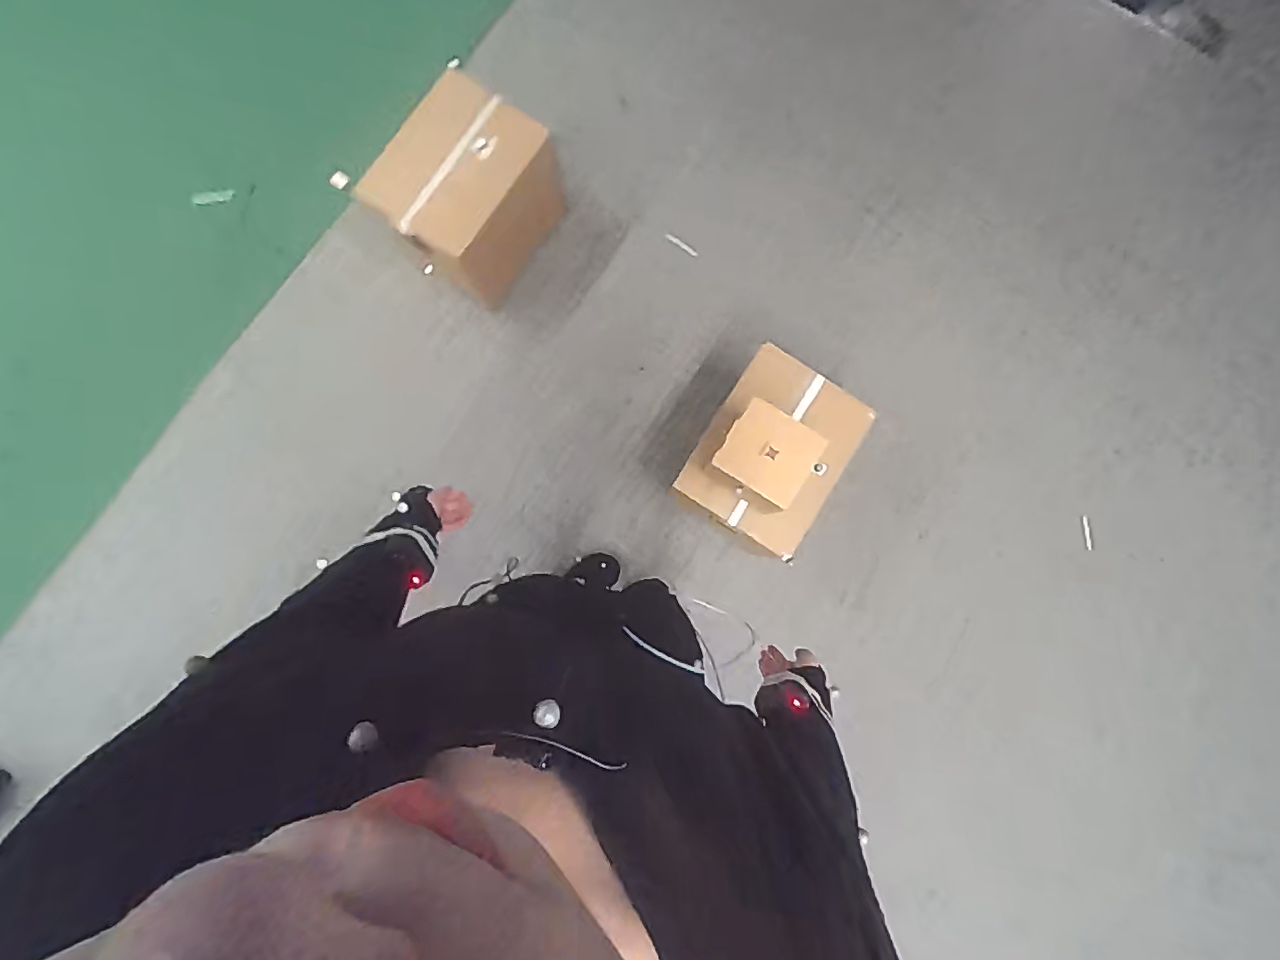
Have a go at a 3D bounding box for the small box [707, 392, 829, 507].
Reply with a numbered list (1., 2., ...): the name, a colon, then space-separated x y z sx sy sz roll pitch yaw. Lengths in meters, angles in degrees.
1. small box: 0.259 -0.056 1.137 0.179 0.176 0.168 33 86 5

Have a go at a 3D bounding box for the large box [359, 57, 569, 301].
1. large box: -0.438 -0.769 1.436 0.320 0.320 0.408 34 85 3
